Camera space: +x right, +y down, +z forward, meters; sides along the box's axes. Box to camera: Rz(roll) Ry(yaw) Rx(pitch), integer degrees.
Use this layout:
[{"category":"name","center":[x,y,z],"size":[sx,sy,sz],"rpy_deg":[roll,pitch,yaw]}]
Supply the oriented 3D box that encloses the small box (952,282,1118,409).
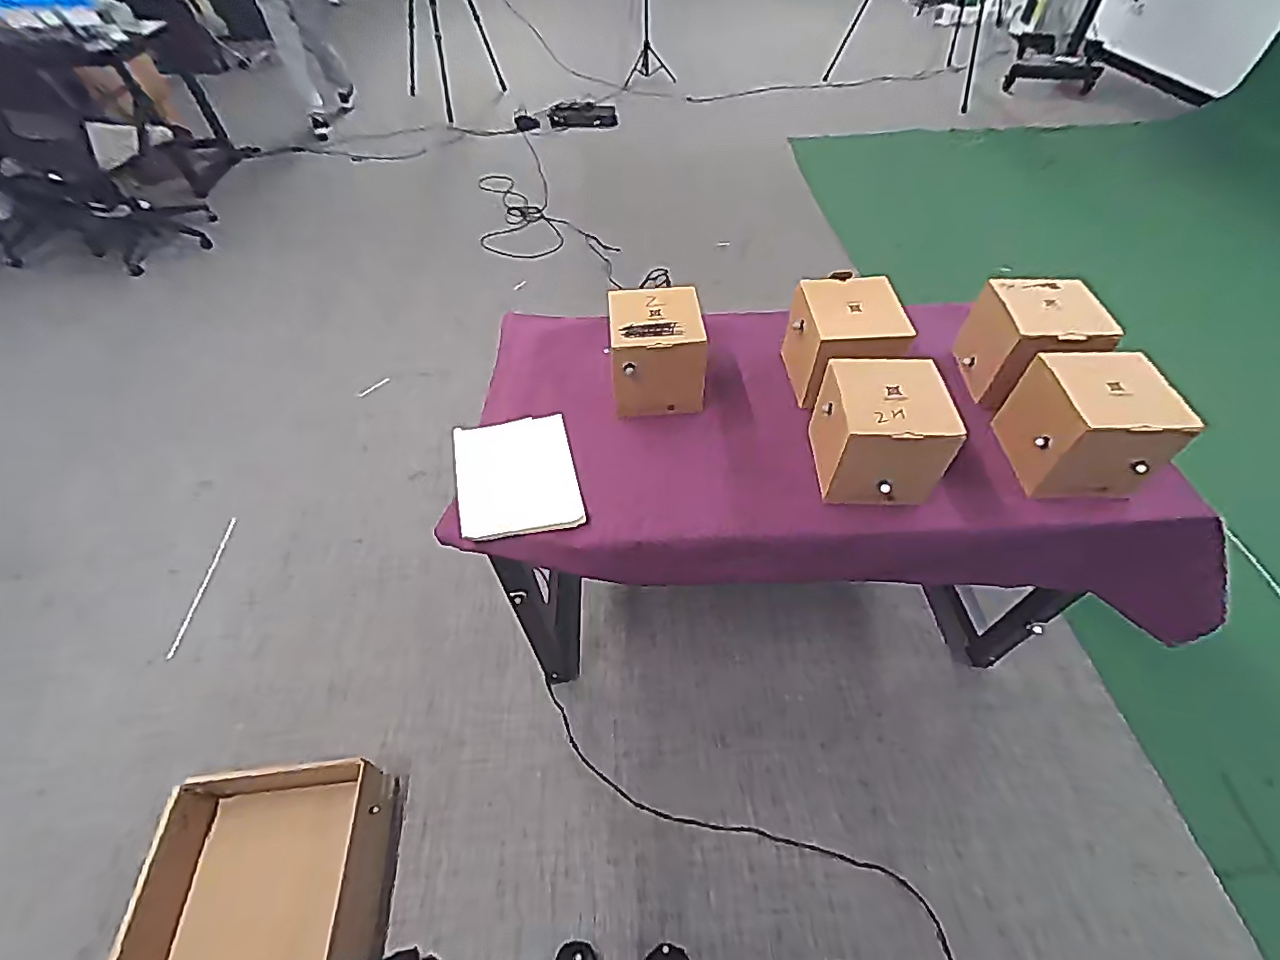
[{"category":"small box","center":[0.723,-0.250,1.015],"size":[0.168,0.176,0.179],"rpy_deg":[3,52,4]}]

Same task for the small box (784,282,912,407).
[{"category":"small box","center":[0.383,-0.251,1.031],"size":[0.168,0.176,0.179],"rpy_deg":[-3,50,0]}]

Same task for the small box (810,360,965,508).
[{"category":"small box","center":[0.387,-0.075,0.885],"size":[0.168,0.176,0.179],"rpy_deg":[1,51,3]}]
